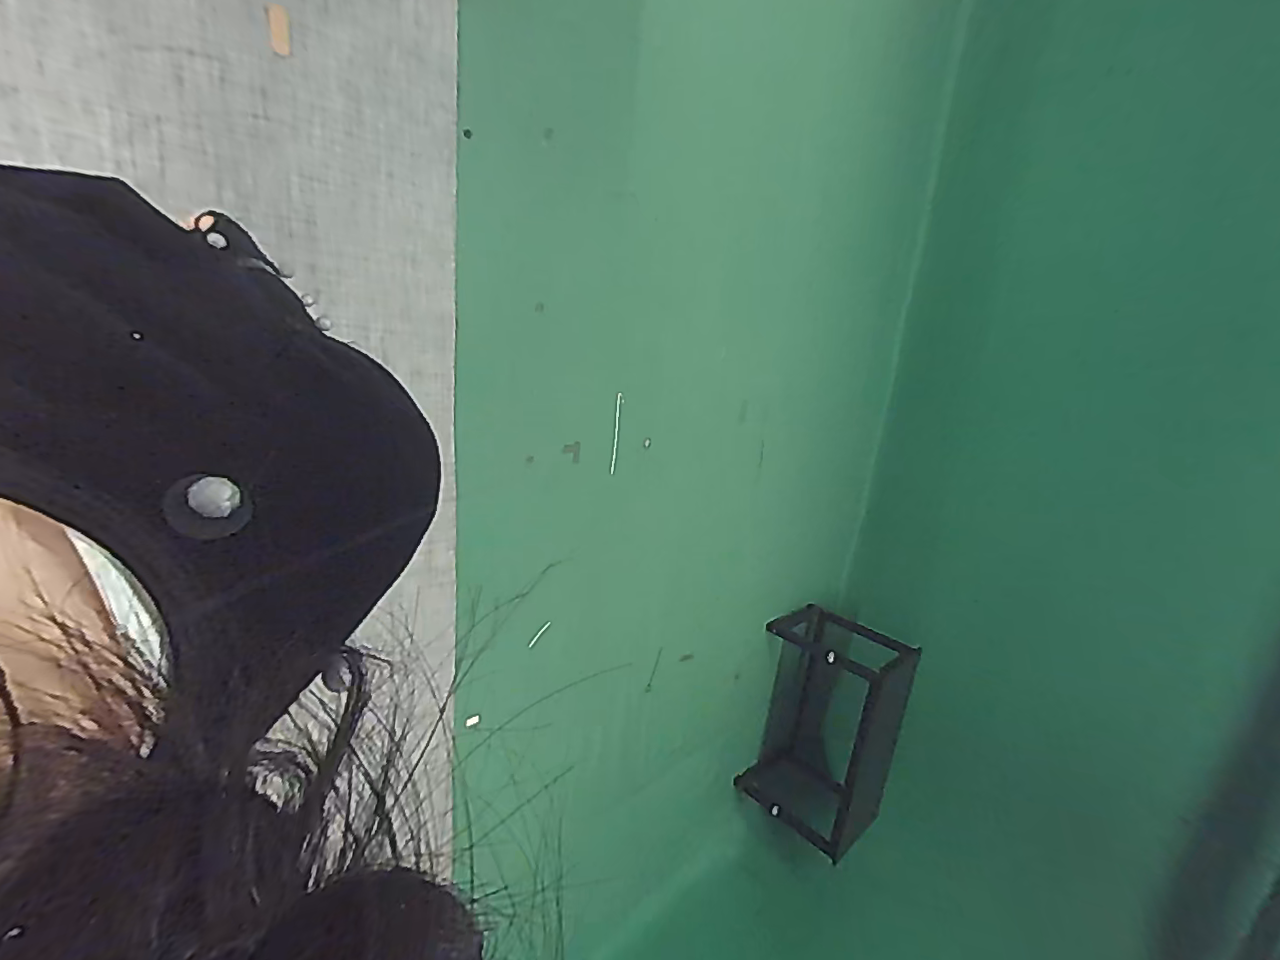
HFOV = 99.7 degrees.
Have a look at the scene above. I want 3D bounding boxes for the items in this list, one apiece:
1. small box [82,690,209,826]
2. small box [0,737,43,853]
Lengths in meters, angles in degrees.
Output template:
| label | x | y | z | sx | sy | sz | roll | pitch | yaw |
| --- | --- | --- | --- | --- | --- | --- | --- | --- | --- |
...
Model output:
| label | x | y | z | sx | sy | sz | roll | pitch | yaw |
| --- | --- | --- | --- | --- | --- | --- | --- | --- | --- |
| small box | -1.085 | 0.599 | 1.193 | 0.179 | 0.176 | 0.168 | -14 | 112 | -38 |
| small box | -1.278 | 0.627 | 1.017 | 0.179 | 0.176 | 0.168 | -19 | 117 | -39 |
